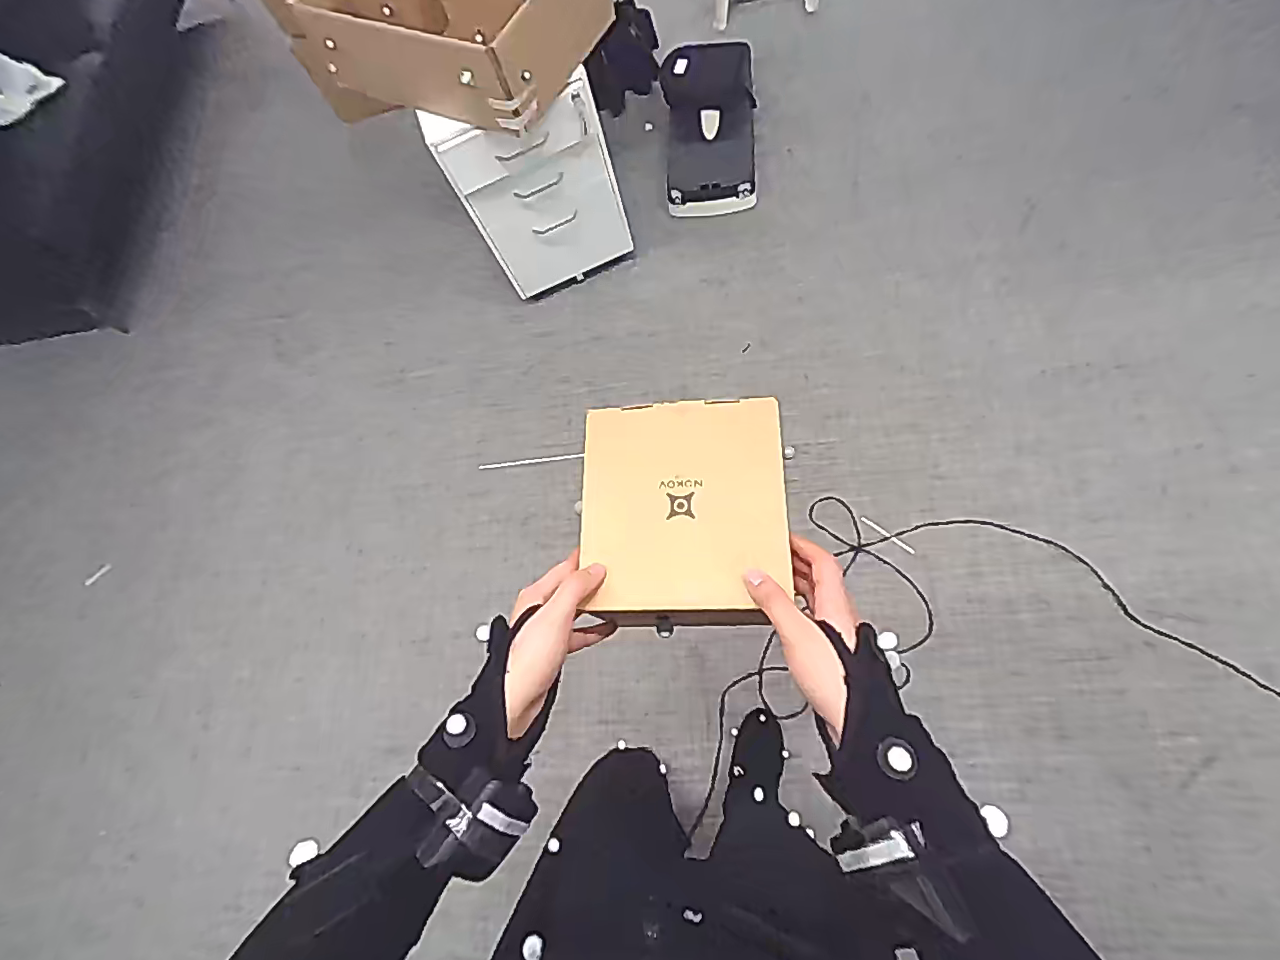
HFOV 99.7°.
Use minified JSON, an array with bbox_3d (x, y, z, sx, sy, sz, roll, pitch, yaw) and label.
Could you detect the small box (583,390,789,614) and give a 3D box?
[{"bbox_3d":[0.048,0.035,0.521,0.168,0.176,0.179,-3,69,9],"label":"small box"}]
